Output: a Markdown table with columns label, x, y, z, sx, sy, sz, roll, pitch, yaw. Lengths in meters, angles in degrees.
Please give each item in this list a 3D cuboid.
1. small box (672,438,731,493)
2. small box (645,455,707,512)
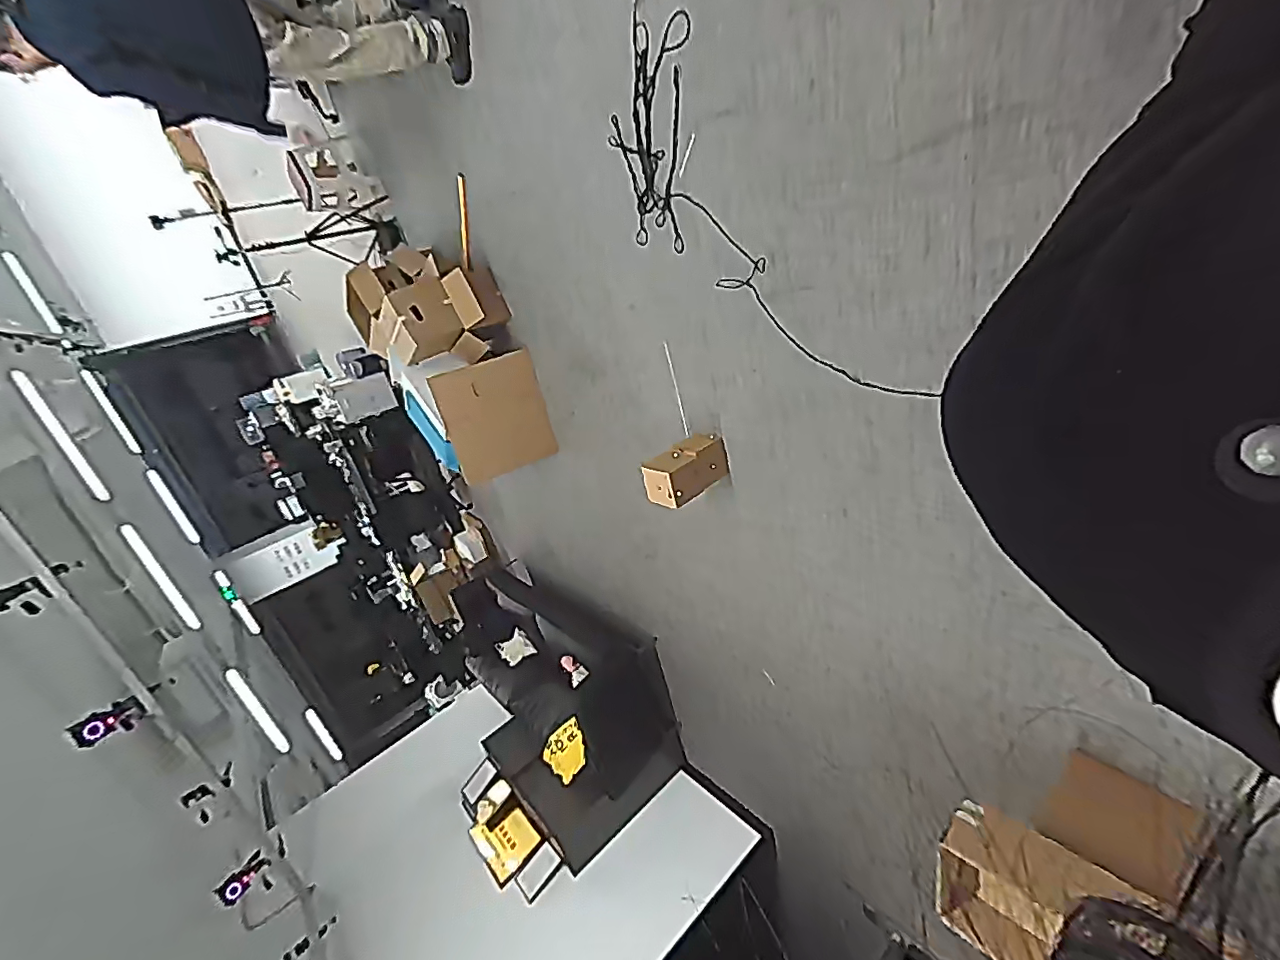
| label | x | y | z | sx | sy | sz | roll | pitch | yaw |
| --- | --- | --- | --- | --- | --- | --- | --- | --- | --- |
| small box | 0.269 | -0.068 | 2.322 | 0.168 | 0.176 | 0.179 | 15 | 128 | 50 |
| small box | 0.149 | 0.008 | 2.240 | 0.179 | 0.176 | 0.168 | 17 | 129 | 50 |
